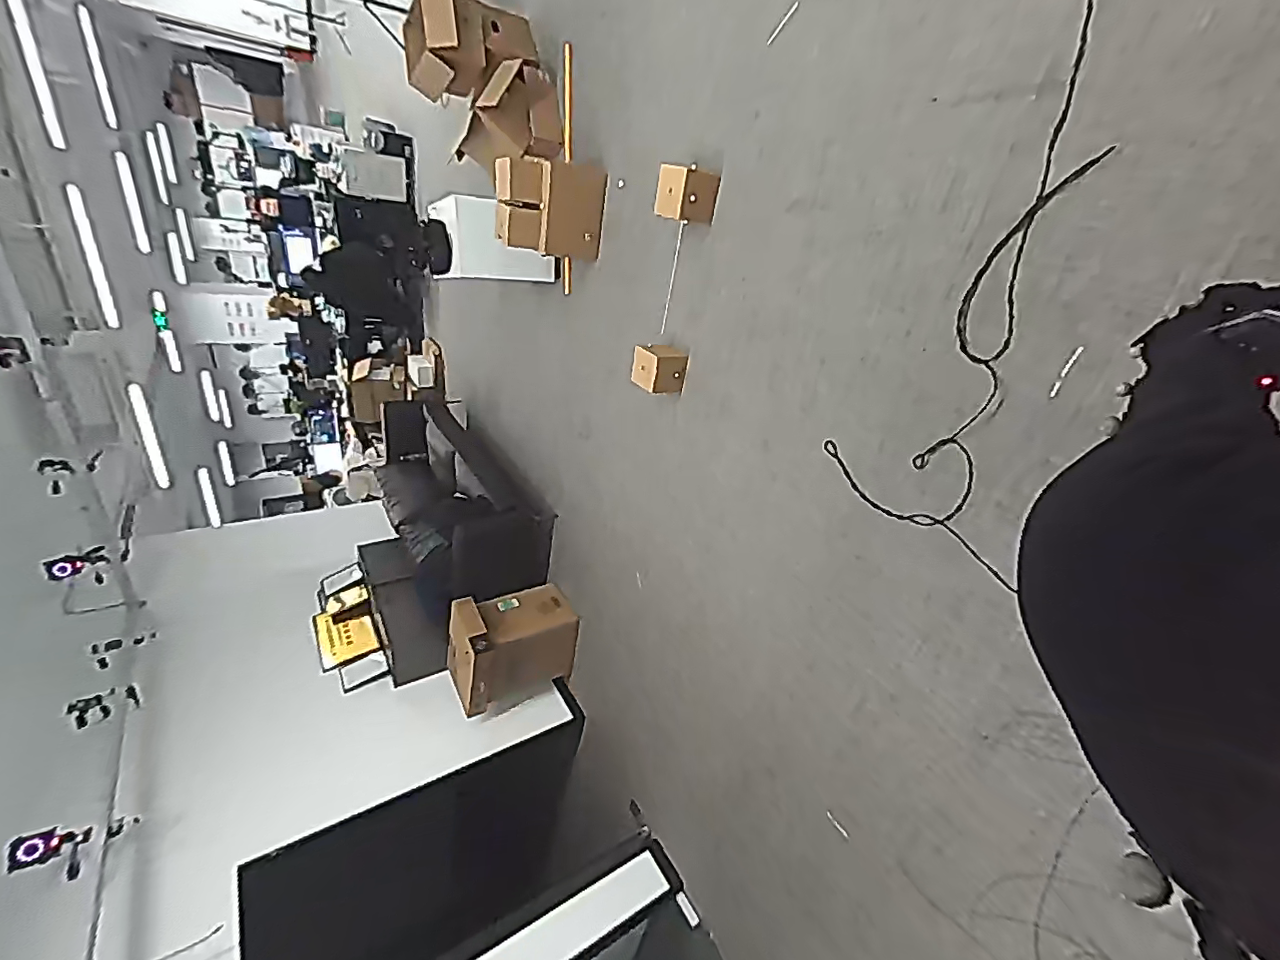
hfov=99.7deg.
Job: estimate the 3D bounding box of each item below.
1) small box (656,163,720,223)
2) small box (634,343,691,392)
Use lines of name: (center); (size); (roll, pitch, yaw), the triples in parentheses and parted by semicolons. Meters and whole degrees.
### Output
small box: (0.186, -1.099, 2.071); (0.168, 0.176, 0.179); (41, 132, 43)
small box: (0.097, -0.500, 2.392); (0.179, 0.176, 0.168); (41, 132, 44)
